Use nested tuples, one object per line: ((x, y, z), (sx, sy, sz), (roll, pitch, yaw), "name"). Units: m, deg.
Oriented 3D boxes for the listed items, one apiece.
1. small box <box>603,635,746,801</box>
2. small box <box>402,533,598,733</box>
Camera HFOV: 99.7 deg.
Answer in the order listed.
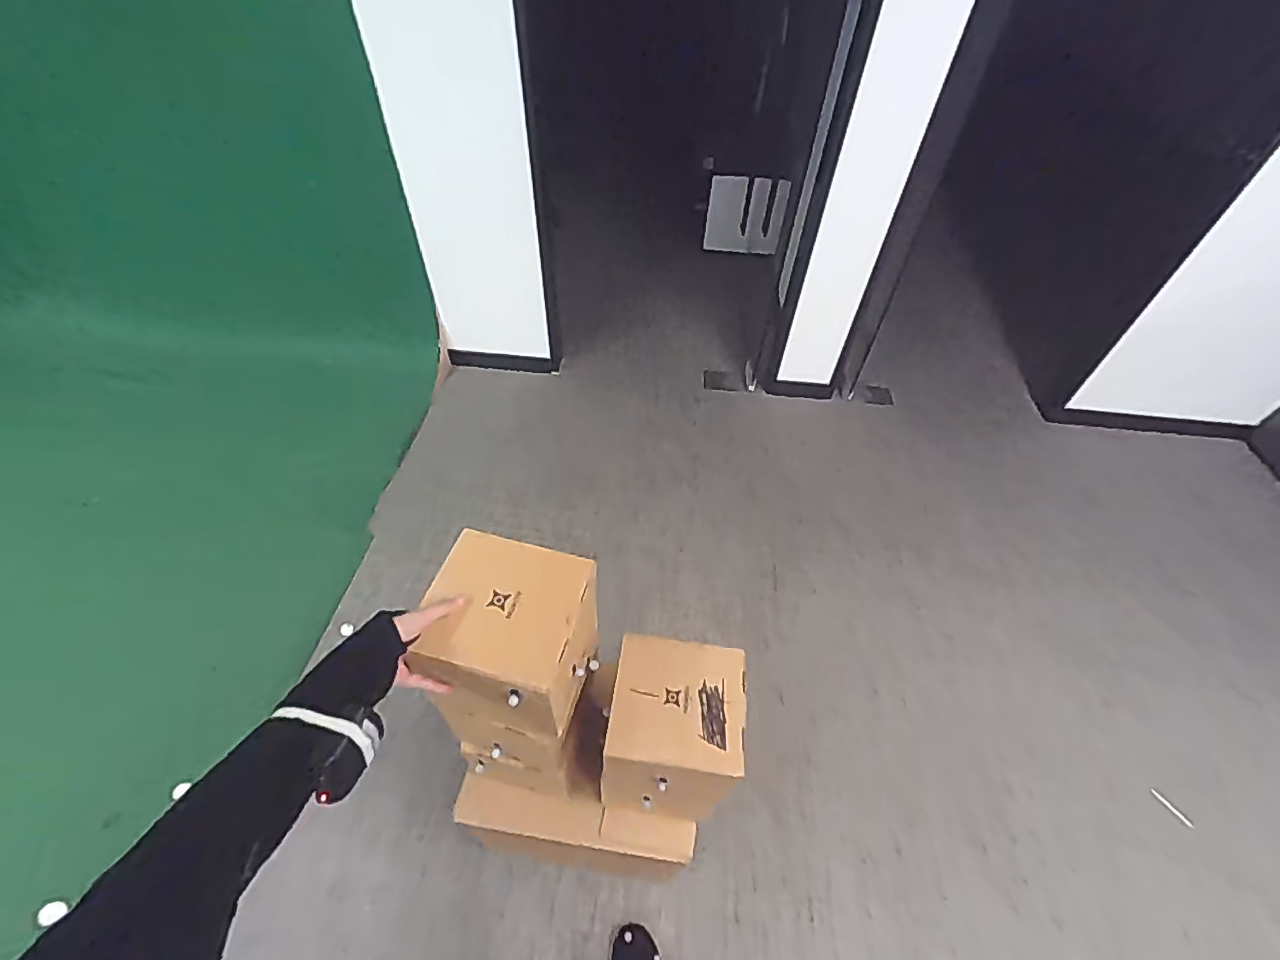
((0.049, 0.344, 0.775), (0.179, 0.176, 0.168), (6, 49, 5), "small box")
((-0.159, 0.195, 0.680), (0.179, 0.176, 0.168), (13, 49, 6), "small box")
